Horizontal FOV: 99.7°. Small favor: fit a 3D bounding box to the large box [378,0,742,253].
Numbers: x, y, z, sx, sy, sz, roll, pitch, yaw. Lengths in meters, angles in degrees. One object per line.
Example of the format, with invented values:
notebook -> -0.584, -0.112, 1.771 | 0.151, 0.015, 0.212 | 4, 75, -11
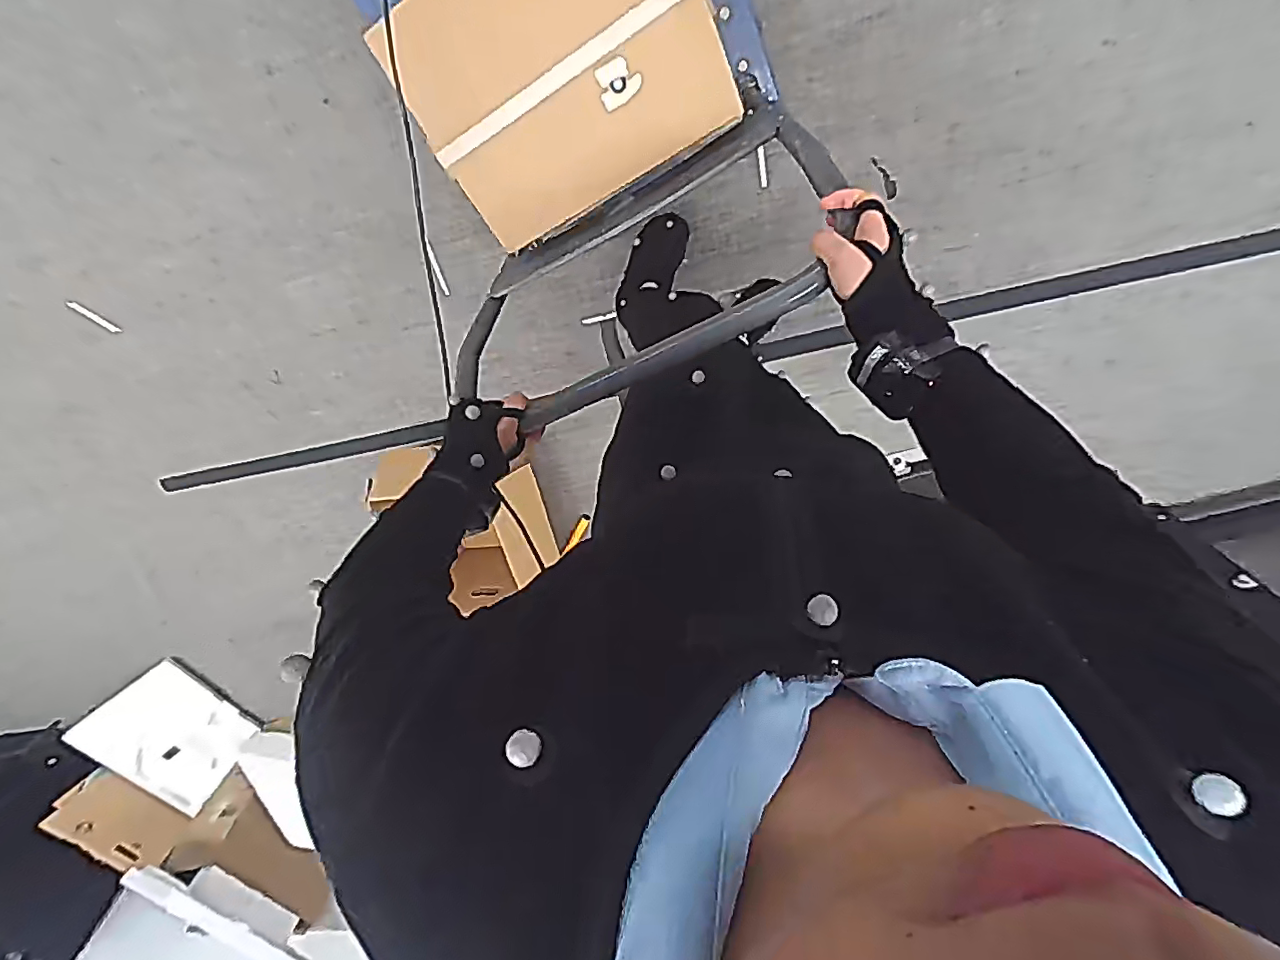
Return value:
large box -> -0.100, -0.632, 0.840 | 0.408, 0.320, 0.320 | -23, 126, 19
